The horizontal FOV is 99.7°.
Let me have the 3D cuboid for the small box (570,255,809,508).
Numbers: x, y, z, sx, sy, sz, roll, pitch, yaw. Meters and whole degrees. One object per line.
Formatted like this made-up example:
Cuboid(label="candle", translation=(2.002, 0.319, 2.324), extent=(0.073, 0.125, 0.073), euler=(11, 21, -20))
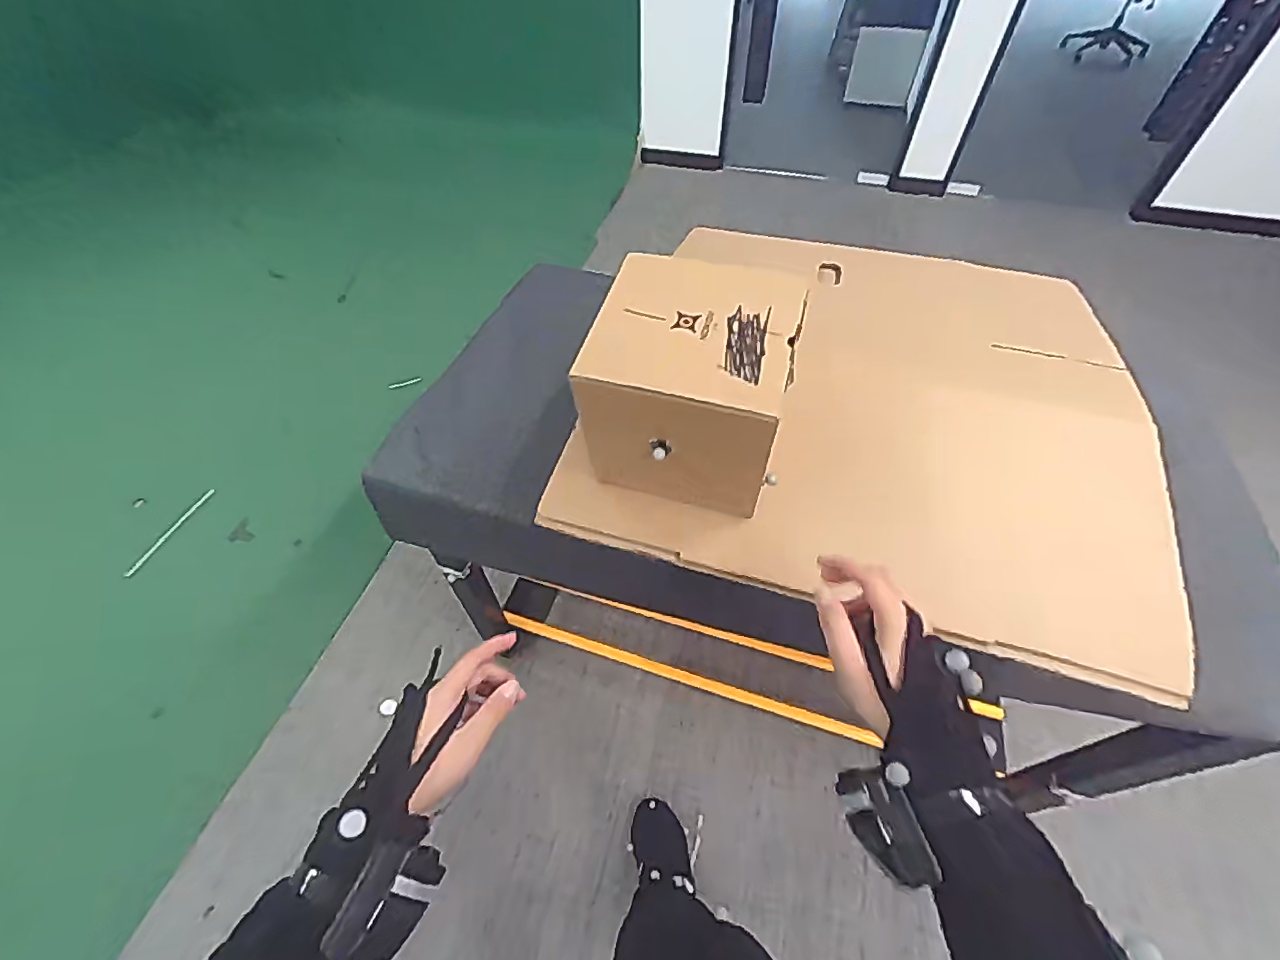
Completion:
Cuboid(label="small box", translation=(0.052, -0.090, 0.538), extent=(0.179, 0.176, 0.168), euler=(13, 61, 12))
